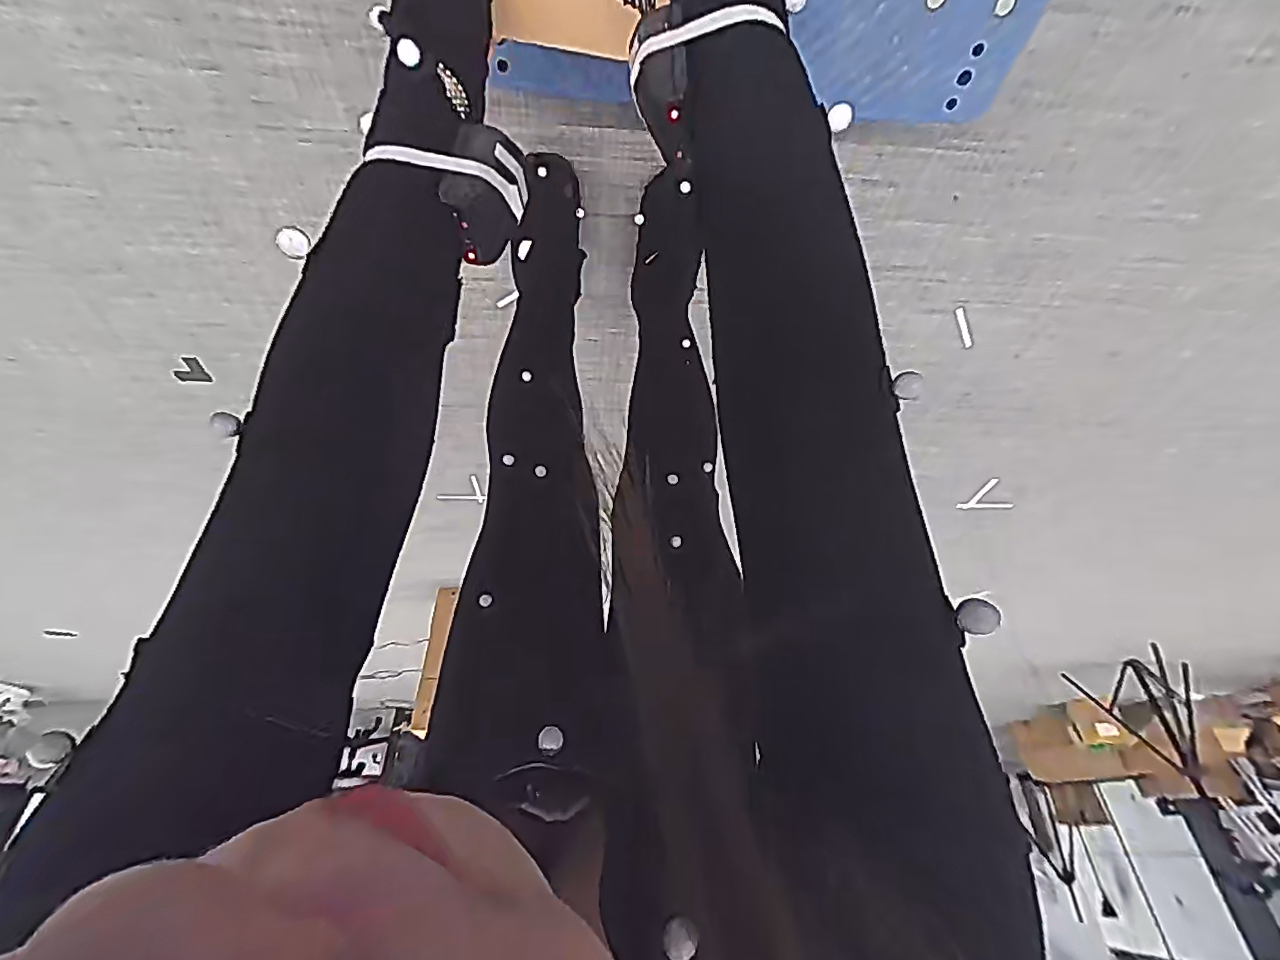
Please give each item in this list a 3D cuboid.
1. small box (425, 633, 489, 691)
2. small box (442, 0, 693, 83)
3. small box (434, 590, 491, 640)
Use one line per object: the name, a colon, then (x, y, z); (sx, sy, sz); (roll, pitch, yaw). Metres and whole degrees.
small box: (-0.674, 0.675, 2.009); (0.179, 0.176, 0.168); (1, 146, -2)
small box: (-0.046, -0.427, 0.390); (0.179, 0.176, 0.168); (5, 144, -8)
small box: (-0.683, 0.538, 2.100); (0.168, 0.176, 0.179); (1, 145, -3)
